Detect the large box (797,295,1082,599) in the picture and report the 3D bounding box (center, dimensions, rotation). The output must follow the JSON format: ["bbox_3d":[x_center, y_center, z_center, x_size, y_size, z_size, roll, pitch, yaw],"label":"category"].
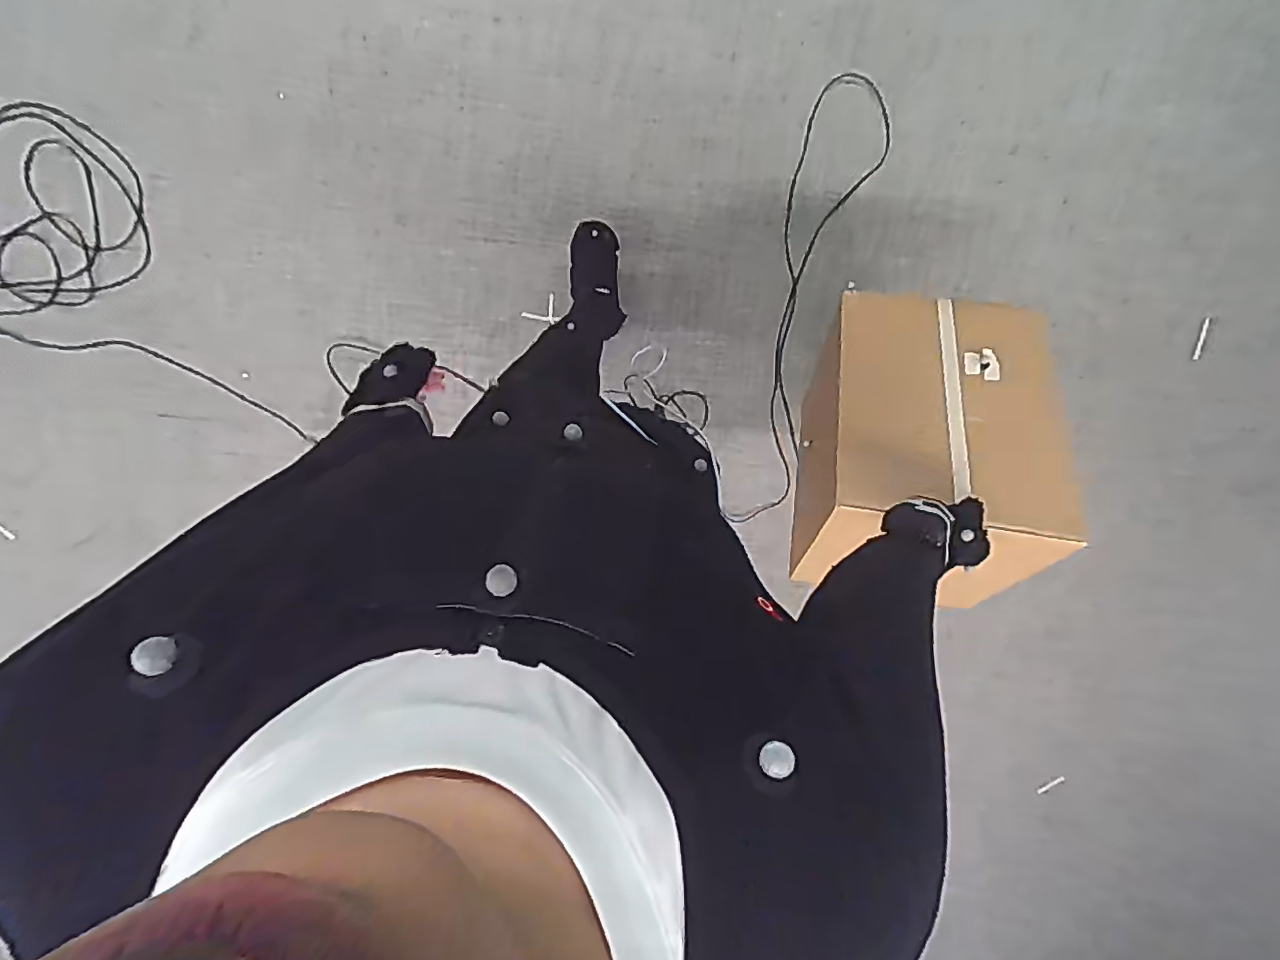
[{"bbox_3d":[0.460,-0.049,0.930,0.320,0.320,0.408,9,62,7],"label":"large box"}]
